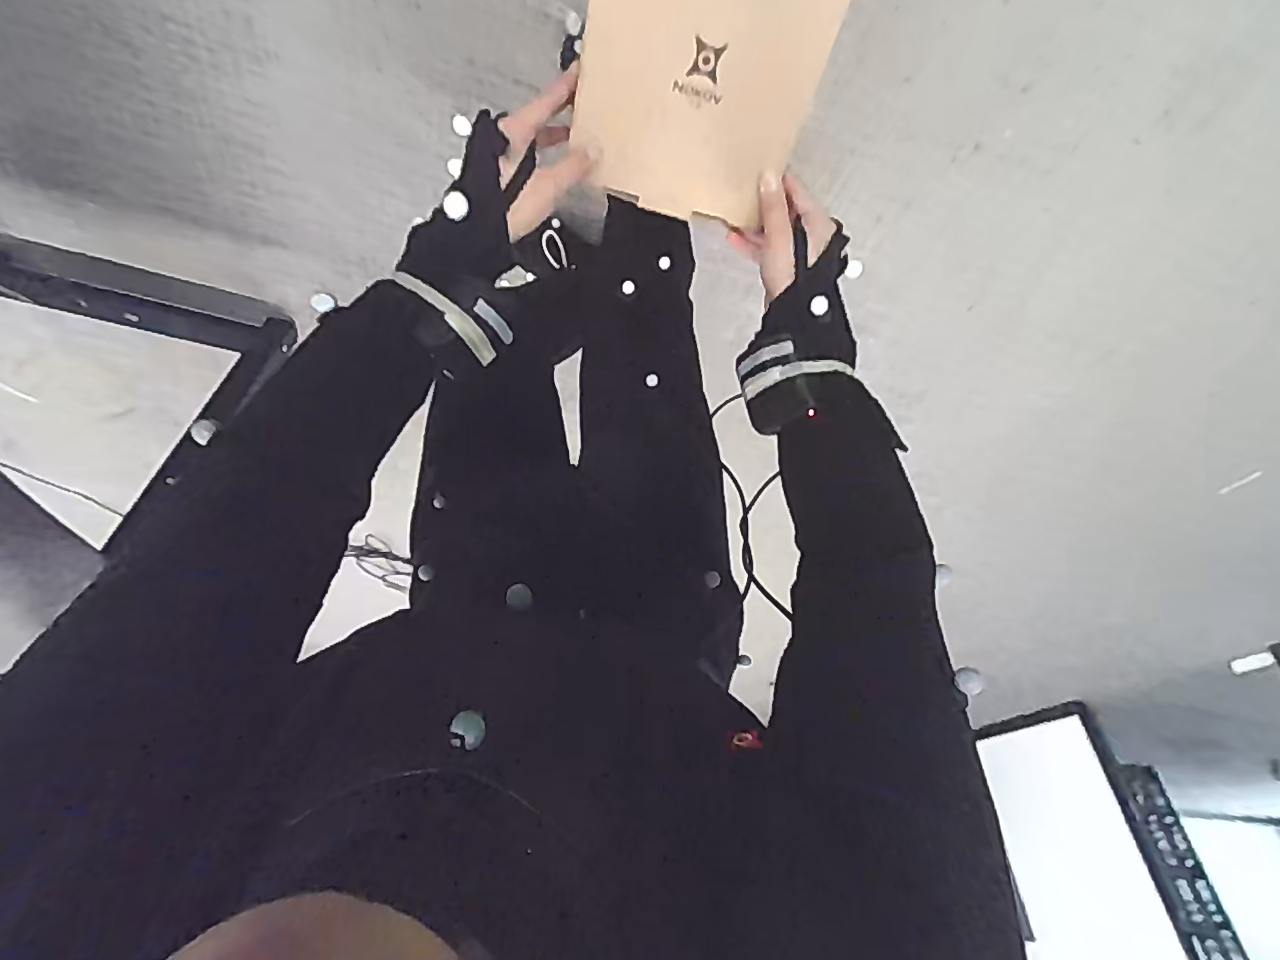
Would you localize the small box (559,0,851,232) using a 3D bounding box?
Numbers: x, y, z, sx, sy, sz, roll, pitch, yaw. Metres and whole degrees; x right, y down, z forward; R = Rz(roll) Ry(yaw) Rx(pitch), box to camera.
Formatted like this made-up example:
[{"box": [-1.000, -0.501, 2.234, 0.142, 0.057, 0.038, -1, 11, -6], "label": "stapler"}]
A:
[{"box": [0.035, -0.328, 0.421, 0.168, 0.176, 0.179, 8, 133, -12], "label": "small box"}]
